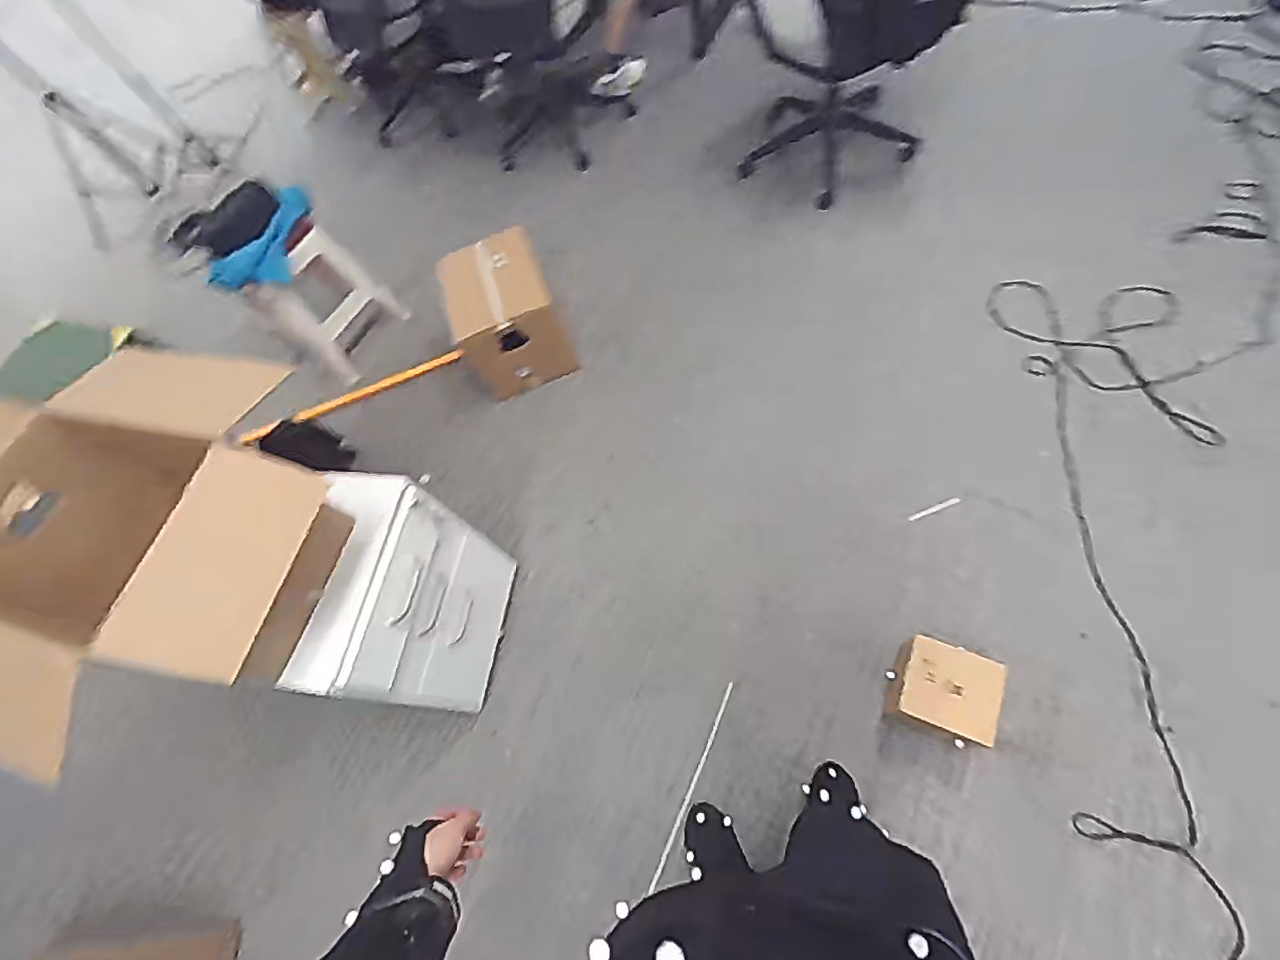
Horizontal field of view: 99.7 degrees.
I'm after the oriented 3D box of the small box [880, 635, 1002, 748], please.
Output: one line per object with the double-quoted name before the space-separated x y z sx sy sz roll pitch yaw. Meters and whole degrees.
"small box" 0.639 0.455 1.164 0.179 0.176 0.168 17 69 20
